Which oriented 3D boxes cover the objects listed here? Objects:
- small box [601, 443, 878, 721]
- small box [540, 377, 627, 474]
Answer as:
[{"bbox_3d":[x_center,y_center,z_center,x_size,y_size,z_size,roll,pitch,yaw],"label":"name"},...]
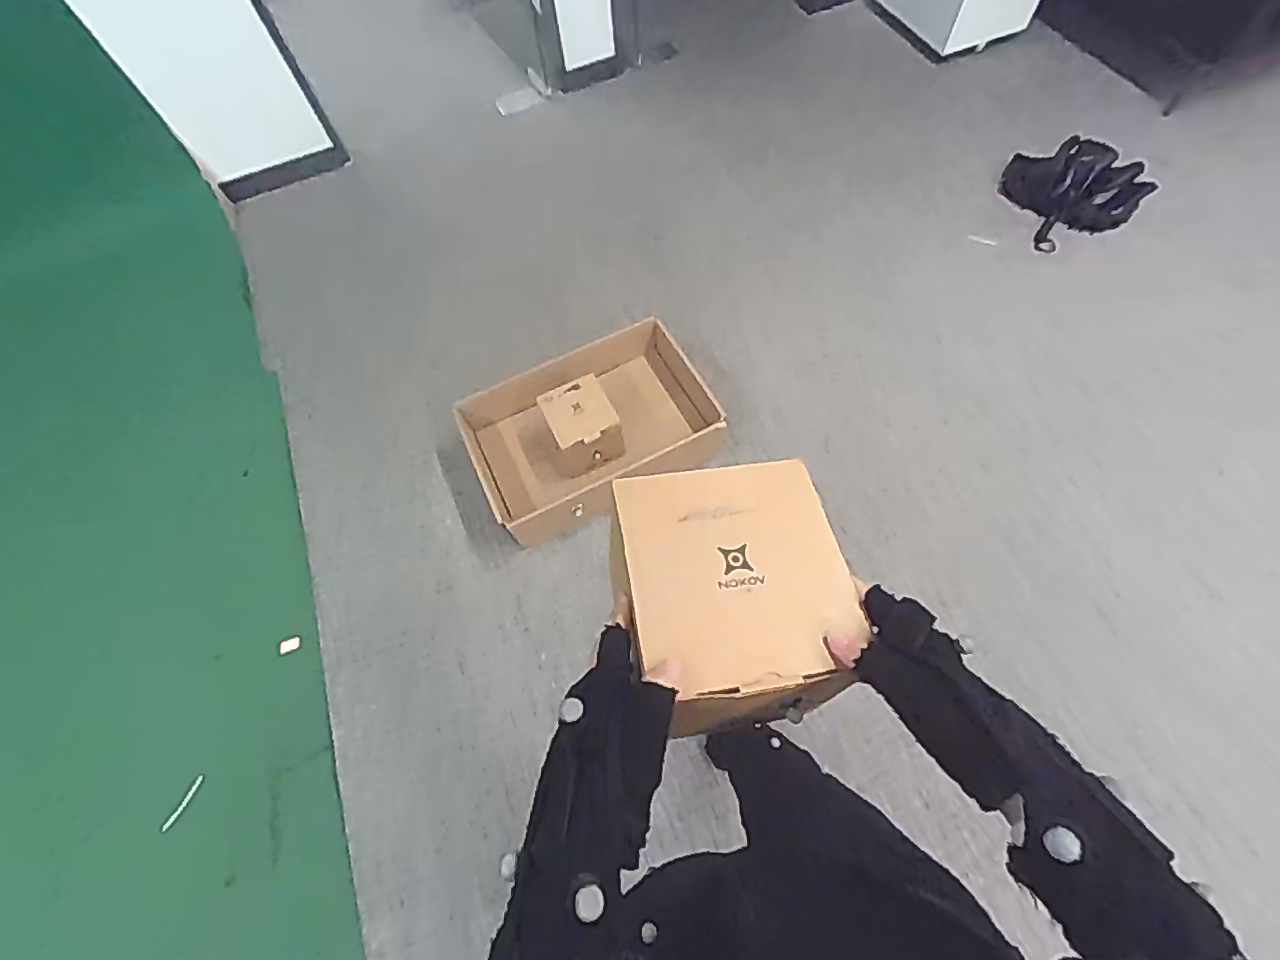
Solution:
[{"bbox_3d":[0.064,0.097,0.467,0.168,0.176,0.179,-10,59,-10],"label":"small box"},{"bbox_3d":[-0.144,-0.136,1.443,0.168,0.176,0.179,-25,66,-8],"label":"small box"}]
